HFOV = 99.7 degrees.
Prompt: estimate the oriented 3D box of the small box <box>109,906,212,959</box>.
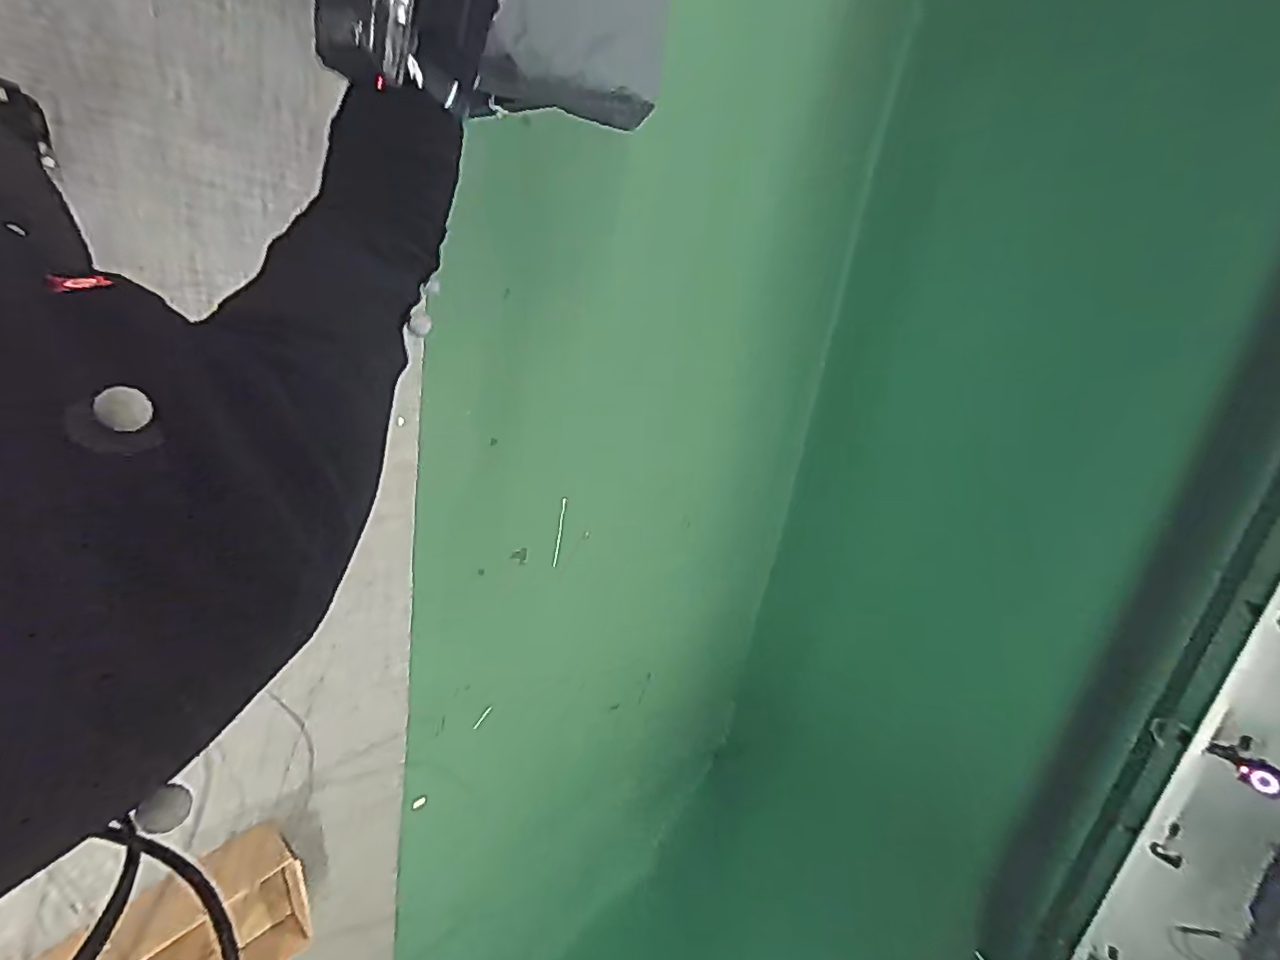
[{"bbox_3d":[-1.244,1.287,1.417,0.179,0.176,0.168,-18,121,-47],"label":"small box"}]
